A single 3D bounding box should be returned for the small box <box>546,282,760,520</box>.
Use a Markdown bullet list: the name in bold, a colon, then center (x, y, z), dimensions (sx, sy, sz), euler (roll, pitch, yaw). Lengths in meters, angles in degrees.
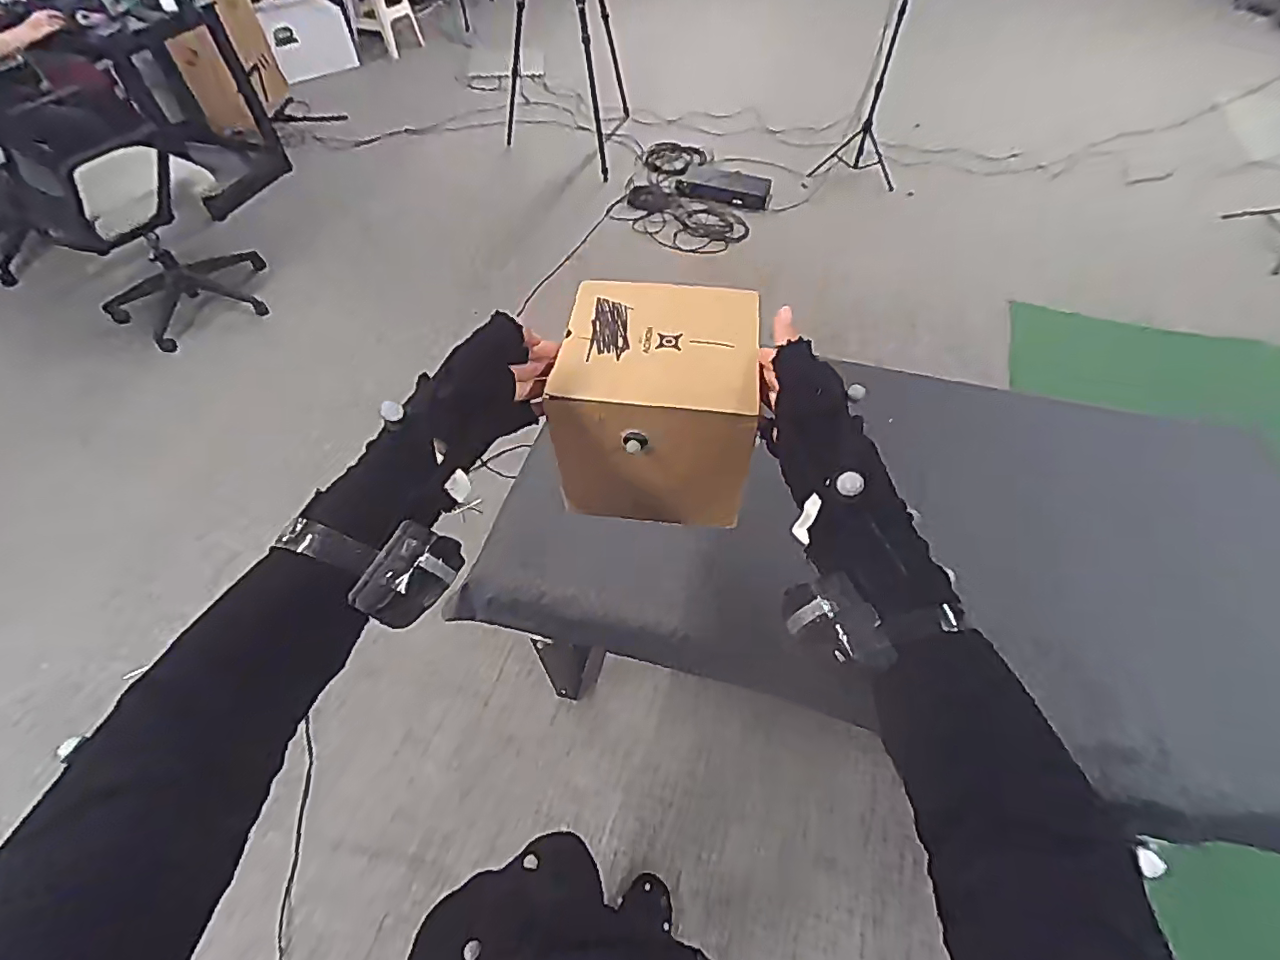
- **small box**: center (0.020, -0.074, 0.542), dimensions (0.179, 0.176, 0.168), euler (6, 54, 5)
